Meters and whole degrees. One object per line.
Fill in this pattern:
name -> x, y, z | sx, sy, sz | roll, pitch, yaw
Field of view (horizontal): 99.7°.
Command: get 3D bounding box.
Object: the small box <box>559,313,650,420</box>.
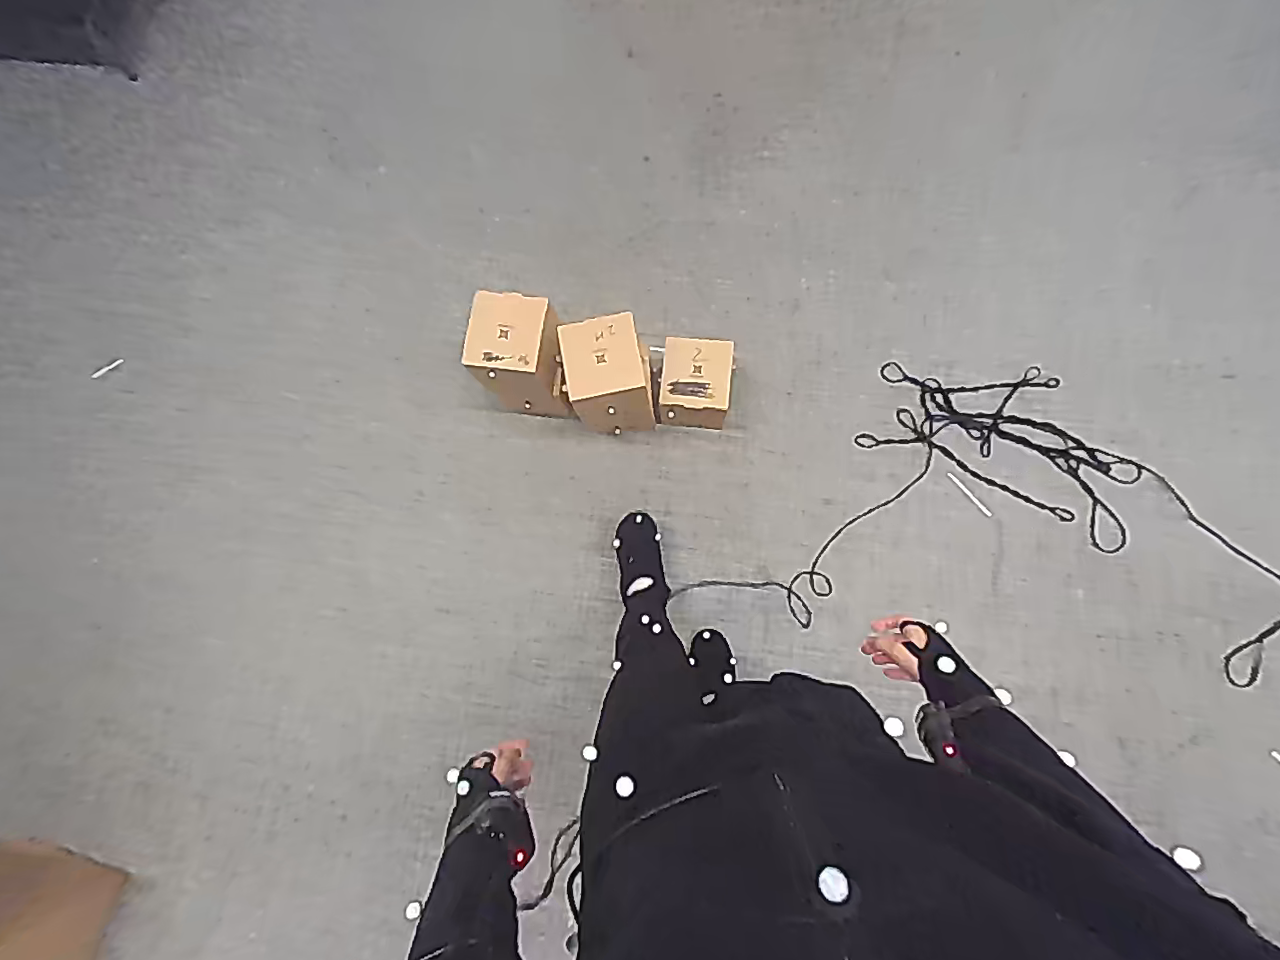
small box -> -0.073, -0.244, 1.215 | 0.168, 0.176, 0.179 | -11, 78, 3

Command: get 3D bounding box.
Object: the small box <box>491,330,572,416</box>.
small box -> -0.262, -0.270, 1.400 | 0.179, 0.176, 0.168 | 6, 79, 6
